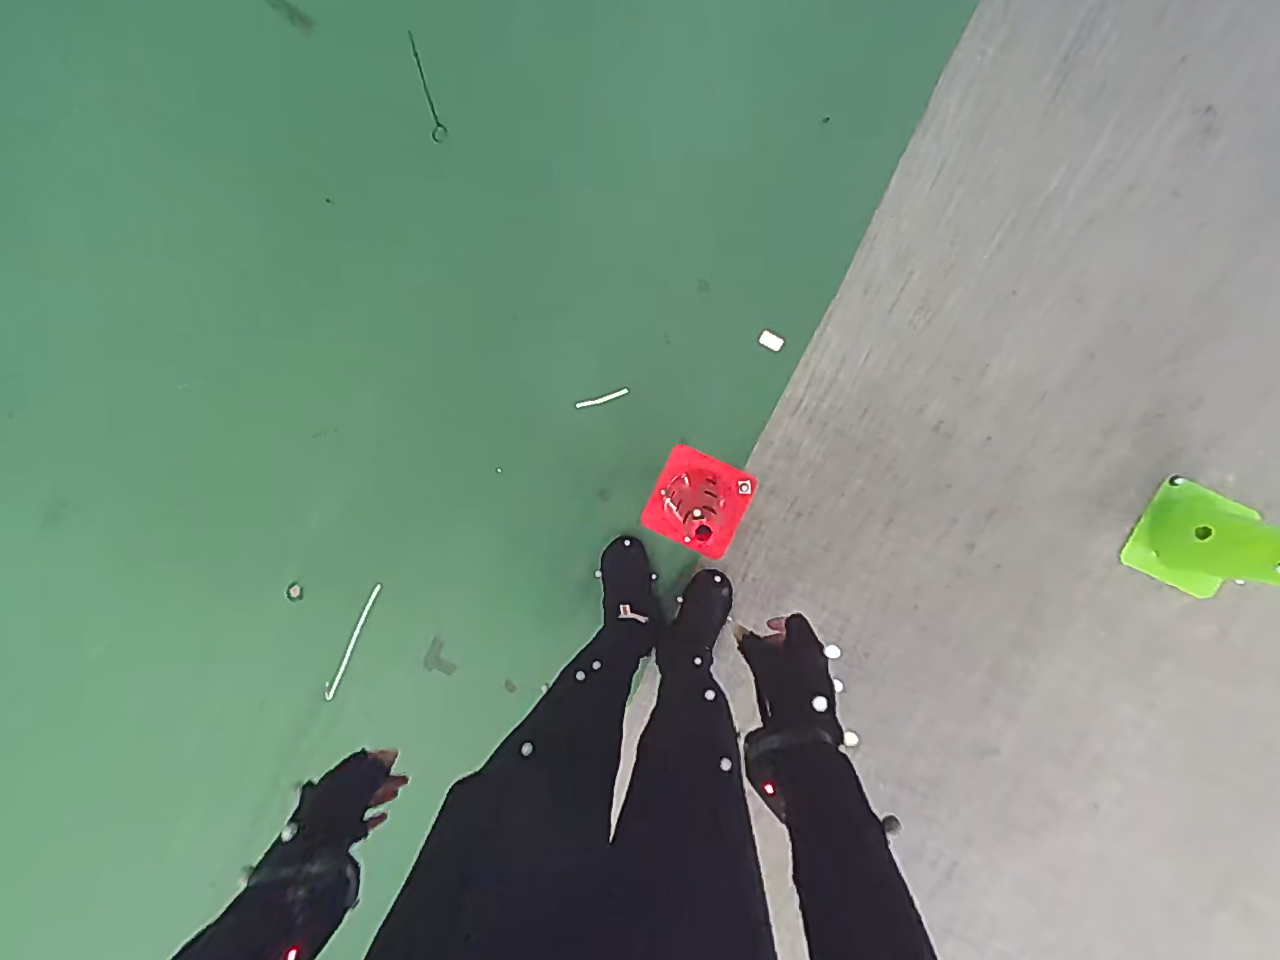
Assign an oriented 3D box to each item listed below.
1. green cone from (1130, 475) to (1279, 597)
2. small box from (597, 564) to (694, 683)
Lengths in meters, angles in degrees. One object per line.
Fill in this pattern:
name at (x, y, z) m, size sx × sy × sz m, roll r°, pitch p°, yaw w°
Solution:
green cone at (1.085, 0.132, 0.898) m, size 0.202 × 0.368 × 0.200 m, roll 24°, pitch 98°, yaw 2°
small box at (0.007, 0.301, 1.160) m, size 0.168 × 0.176 × 0.179 m, roll 12°, pitch 99°, yaw -6°
